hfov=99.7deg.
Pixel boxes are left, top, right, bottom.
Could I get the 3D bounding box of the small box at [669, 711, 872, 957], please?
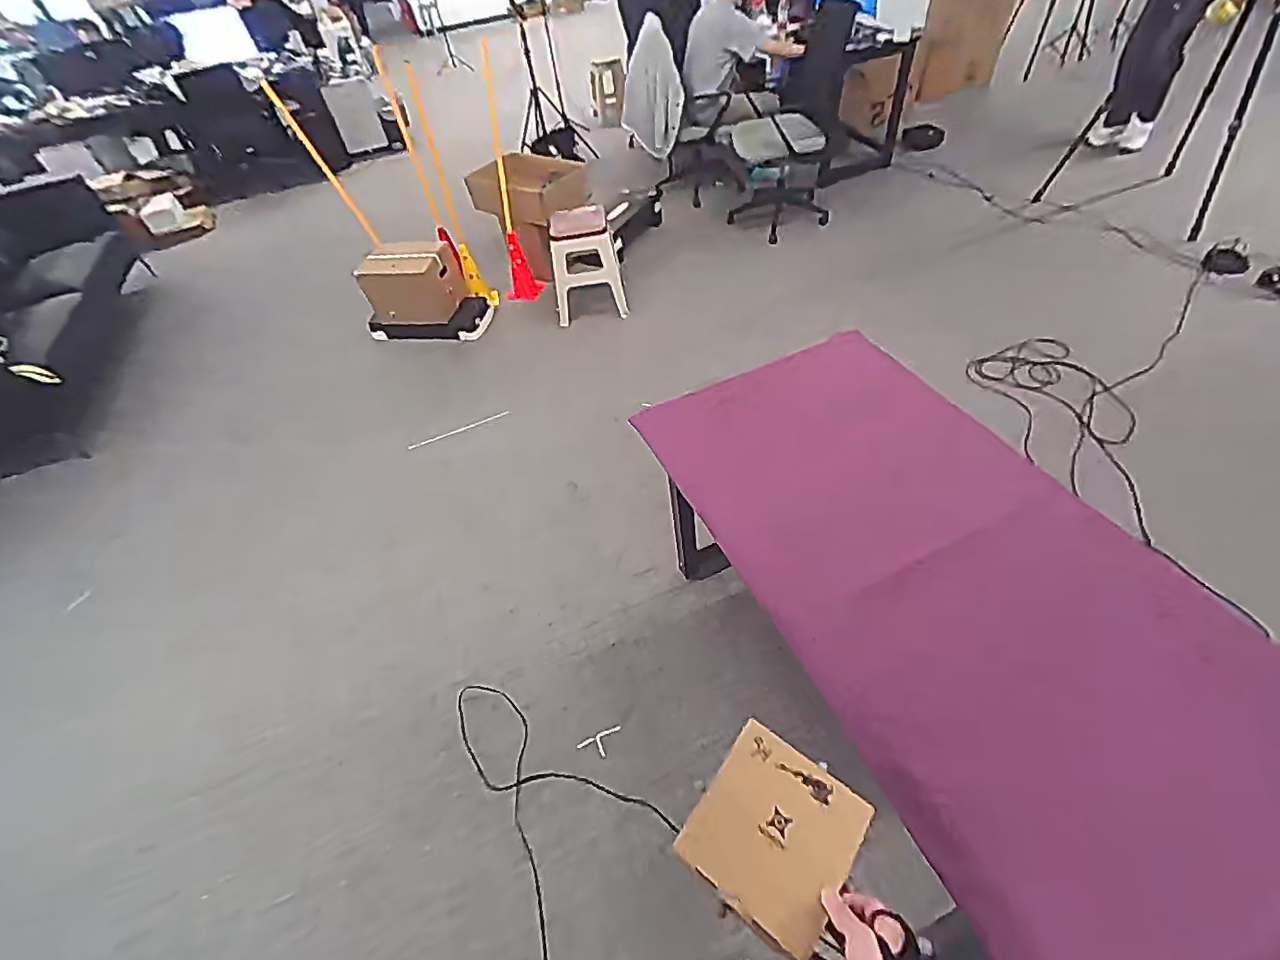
[{"bbox_3d":[0.152,0.428,0.670,0.168,0.176,0.179,32,61,22],"label":"small box"}]
